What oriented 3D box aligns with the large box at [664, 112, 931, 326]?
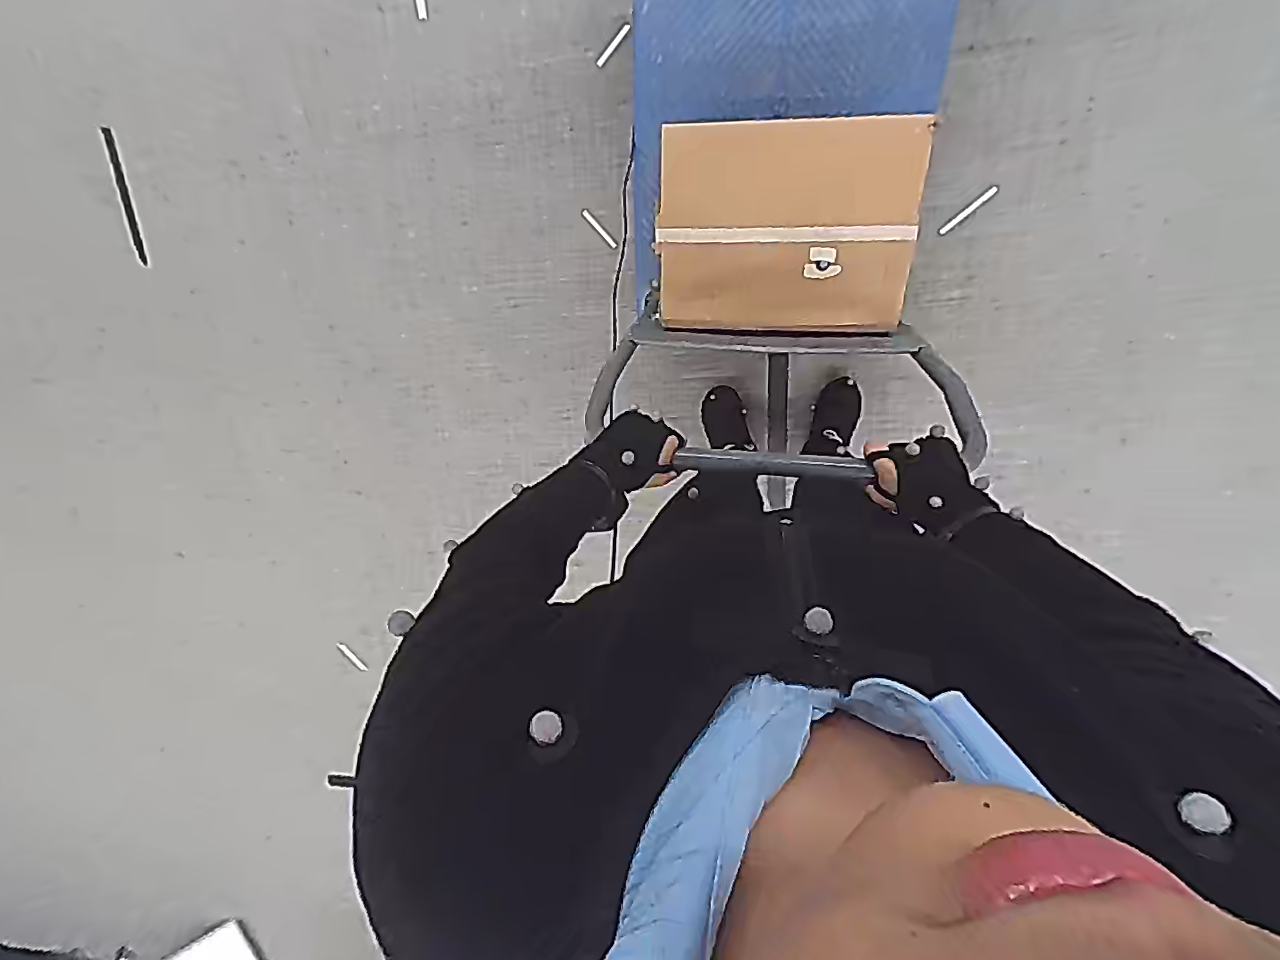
[{"bbox_3d":[0.260,-0.477,1.022,0.408,0.320,0.320,3,118,9],"label":"large box"}]
